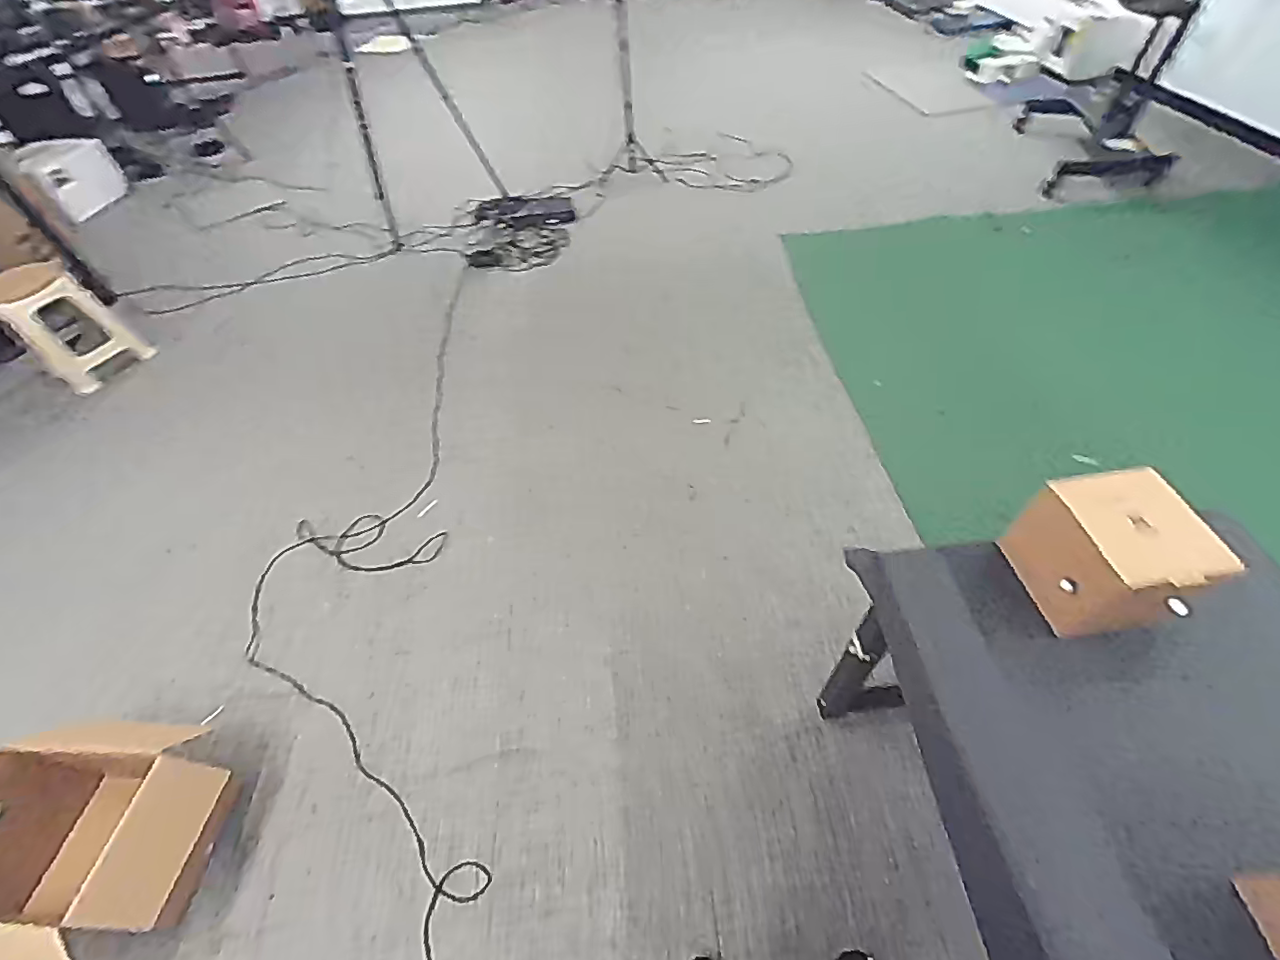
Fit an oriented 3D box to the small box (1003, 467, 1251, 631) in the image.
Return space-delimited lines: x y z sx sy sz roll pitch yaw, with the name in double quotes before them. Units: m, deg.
"small box" 0.688 0.108 0.793 0.168 0.176 0.179 -7 50 -3
